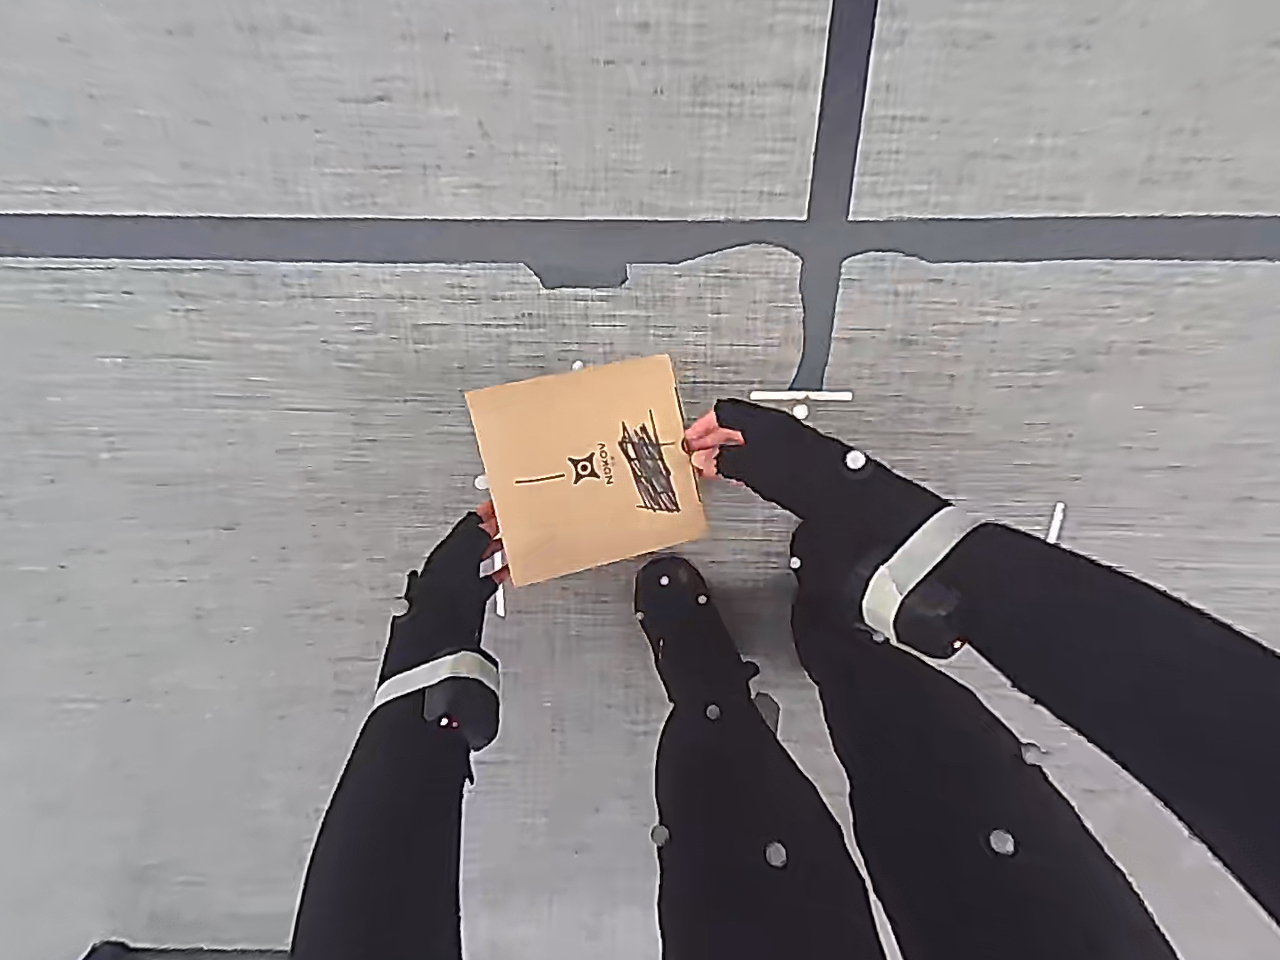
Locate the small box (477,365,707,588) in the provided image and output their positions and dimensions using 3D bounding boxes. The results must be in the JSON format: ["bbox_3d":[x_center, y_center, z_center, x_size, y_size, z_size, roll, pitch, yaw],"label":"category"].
[{"bbox_3d":[-0.055,-0.010,0.543,0.179,0.176,0.168,-14,95,-12],"label":"small box"}]
